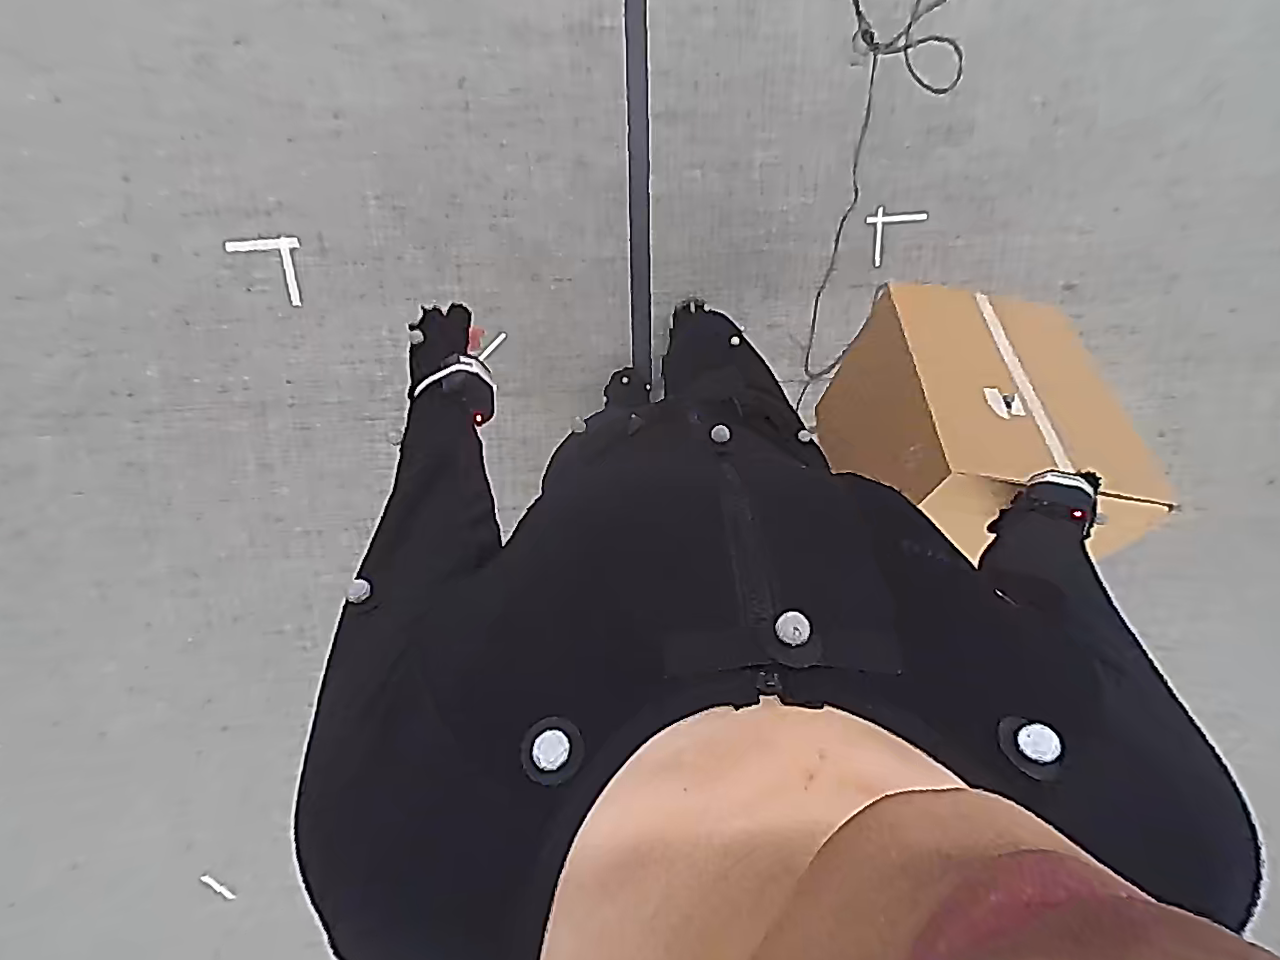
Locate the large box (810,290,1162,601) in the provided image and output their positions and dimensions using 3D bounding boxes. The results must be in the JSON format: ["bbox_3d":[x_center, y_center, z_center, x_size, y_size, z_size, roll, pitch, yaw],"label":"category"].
[{"bbox_3d":[0.521,-0.054,0.927,0.320,0.408,0.320,8,144,-5],"label":"large box"}]
